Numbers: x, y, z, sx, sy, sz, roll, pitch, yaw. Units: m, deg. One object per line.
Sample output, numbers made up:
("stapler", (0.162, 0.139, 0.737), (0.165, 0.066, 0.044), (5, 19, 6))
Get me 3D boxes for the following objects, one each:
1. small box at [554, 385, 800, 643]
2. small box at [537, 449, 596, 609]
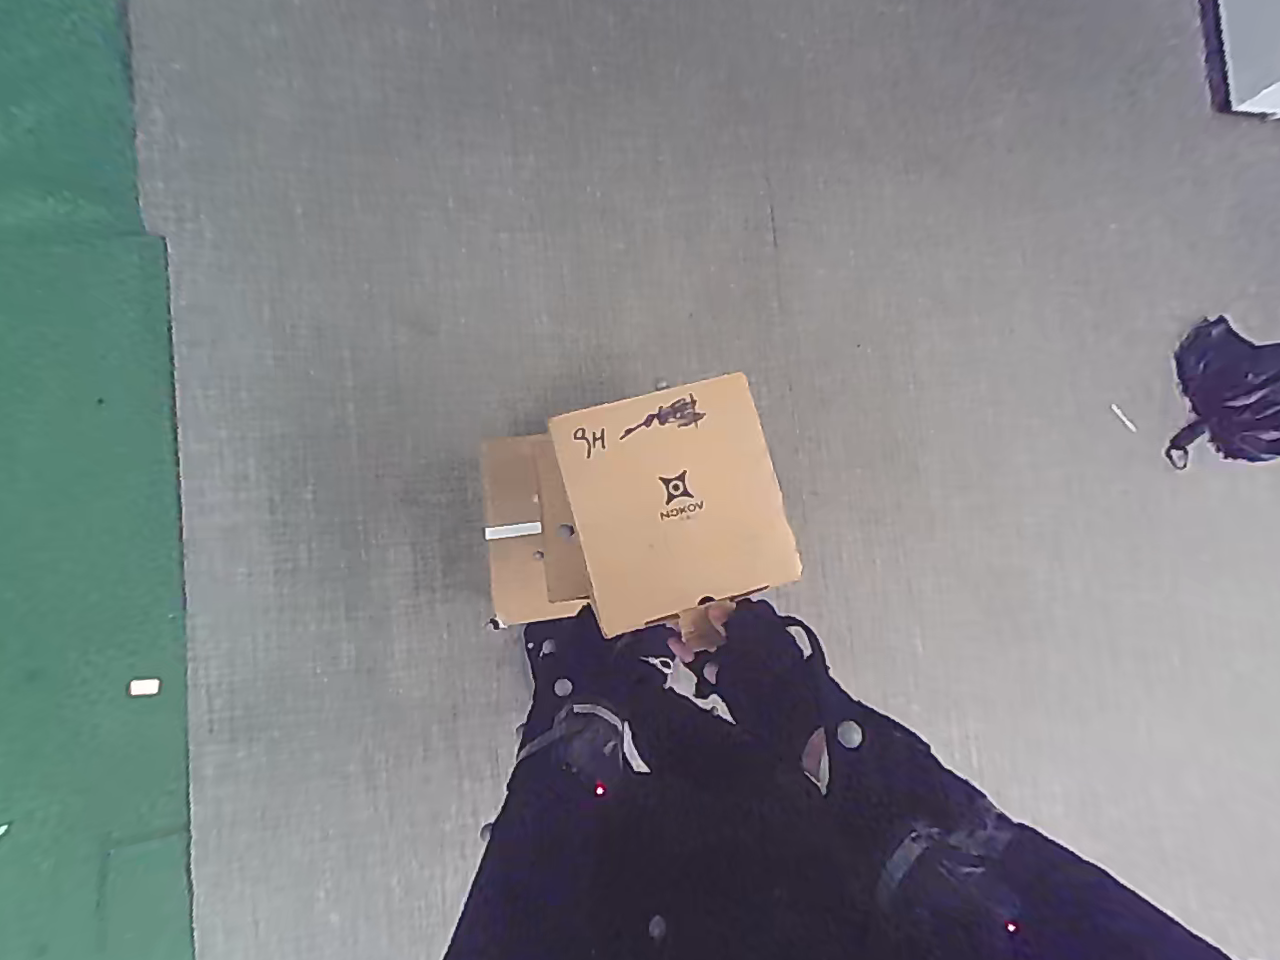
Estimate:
("small box", (0.022, 0.030, 0.508), (0.168, 0.176, 0.179), (-15, 87, -9))
("small box", (-0.033, 0.047, 0.672), (0.168, 0.176, 0.179), (-7, 89, -9))
